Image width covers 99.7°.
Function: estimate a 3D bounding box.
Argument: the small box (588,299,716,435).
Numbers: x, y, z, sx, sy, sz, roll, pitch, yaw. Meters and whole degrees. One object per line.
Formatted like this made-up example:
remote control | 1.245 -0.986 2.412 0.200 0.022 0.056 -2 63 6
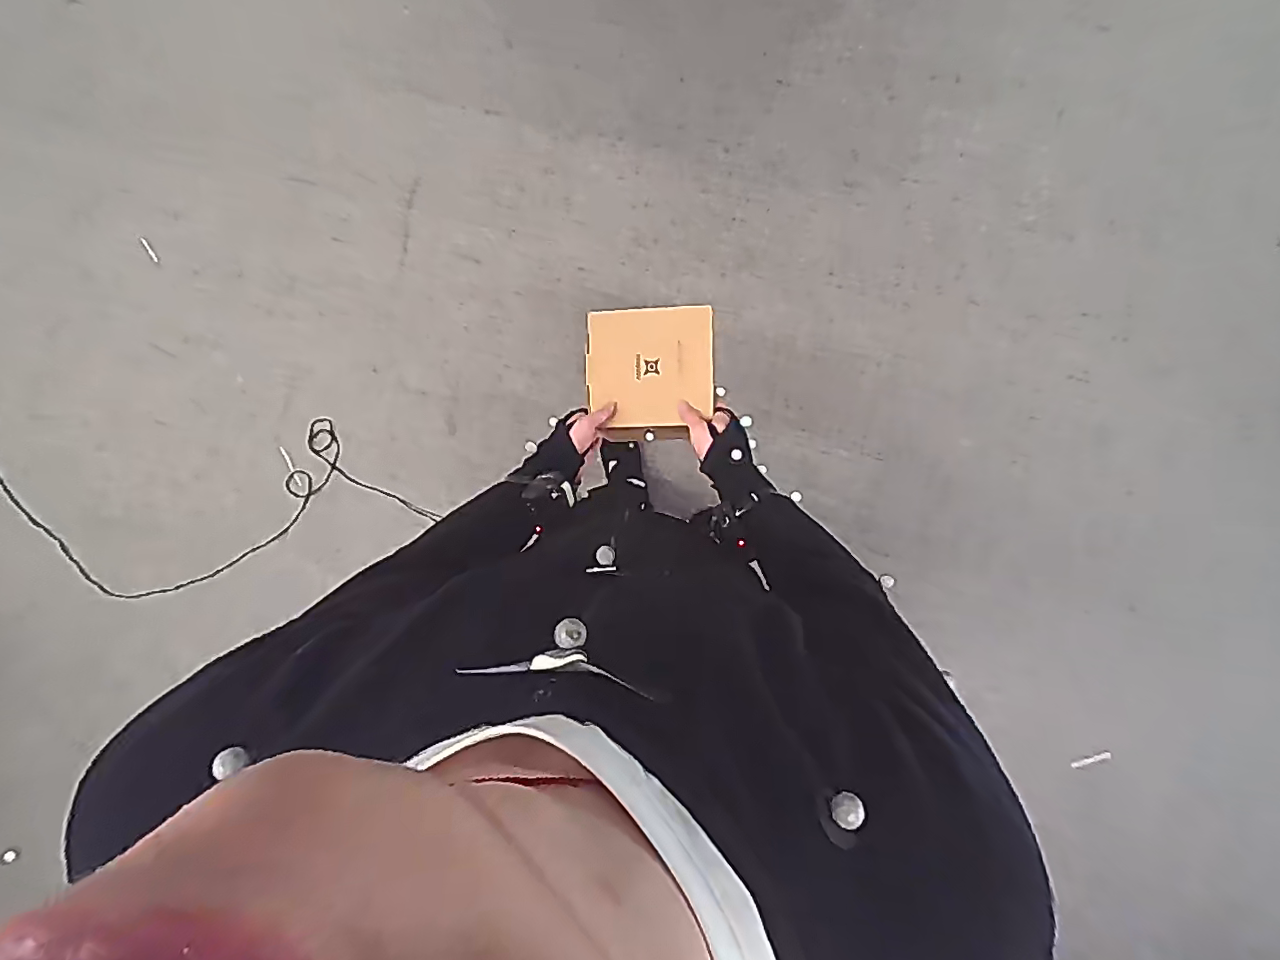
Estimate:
small box | 0.025 -0.160 0.820 0.179 0.176 0.168 -2 88 6
